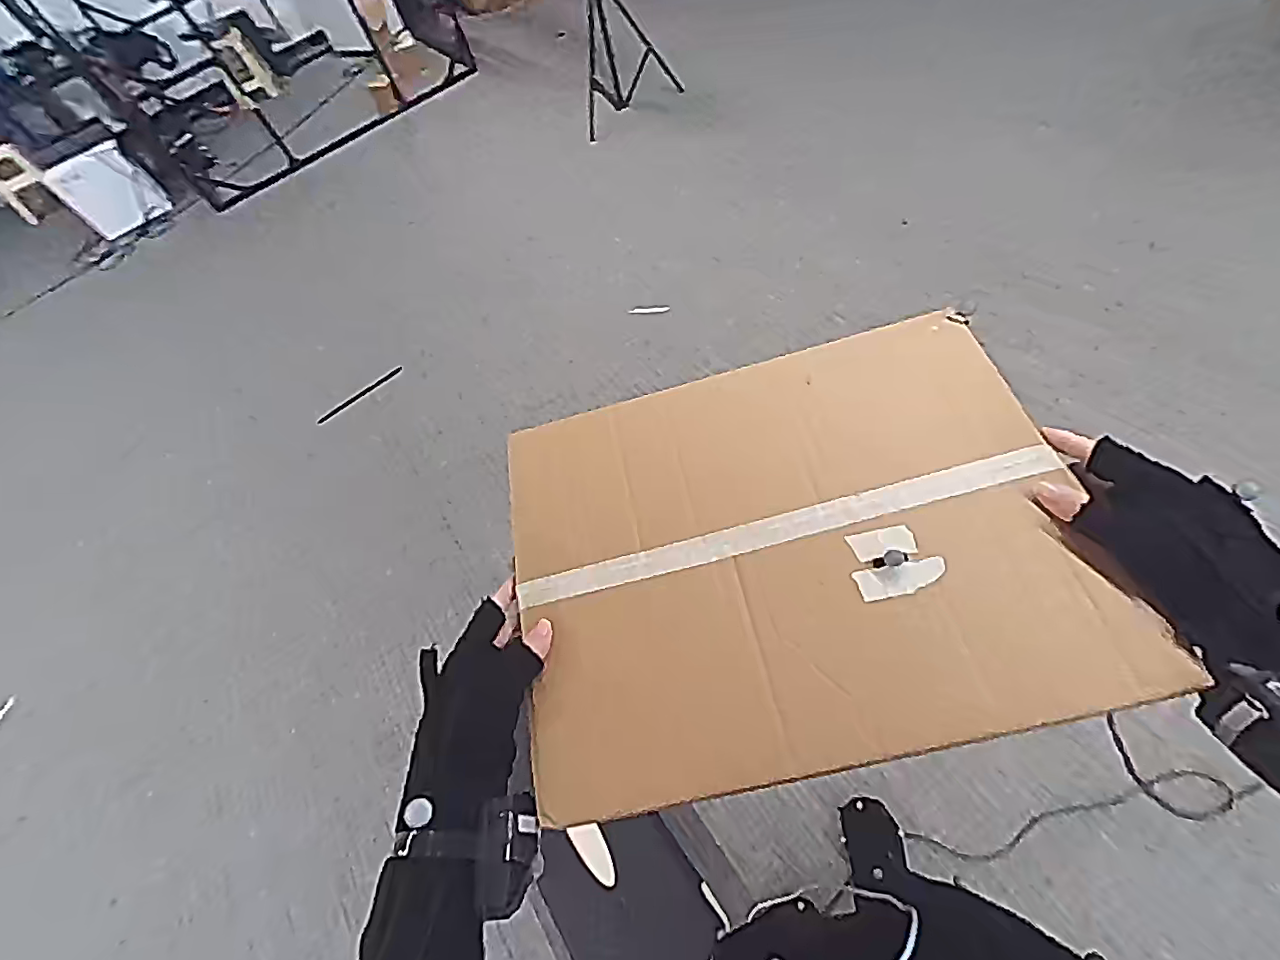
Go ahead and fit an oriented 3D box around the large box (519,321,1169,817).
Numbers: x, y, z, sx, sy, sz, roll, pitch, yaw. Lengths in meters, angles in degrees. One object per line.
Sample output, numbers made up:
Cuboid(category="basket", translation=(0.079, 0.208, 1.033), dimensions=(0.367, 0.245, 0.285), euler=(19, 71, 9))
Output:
Cuboid(category="large box", translation=(0.134, 0.110, 0.545), dimensions=(0.408, 0.320, 0.320), euler=(-16, 60, 4))
